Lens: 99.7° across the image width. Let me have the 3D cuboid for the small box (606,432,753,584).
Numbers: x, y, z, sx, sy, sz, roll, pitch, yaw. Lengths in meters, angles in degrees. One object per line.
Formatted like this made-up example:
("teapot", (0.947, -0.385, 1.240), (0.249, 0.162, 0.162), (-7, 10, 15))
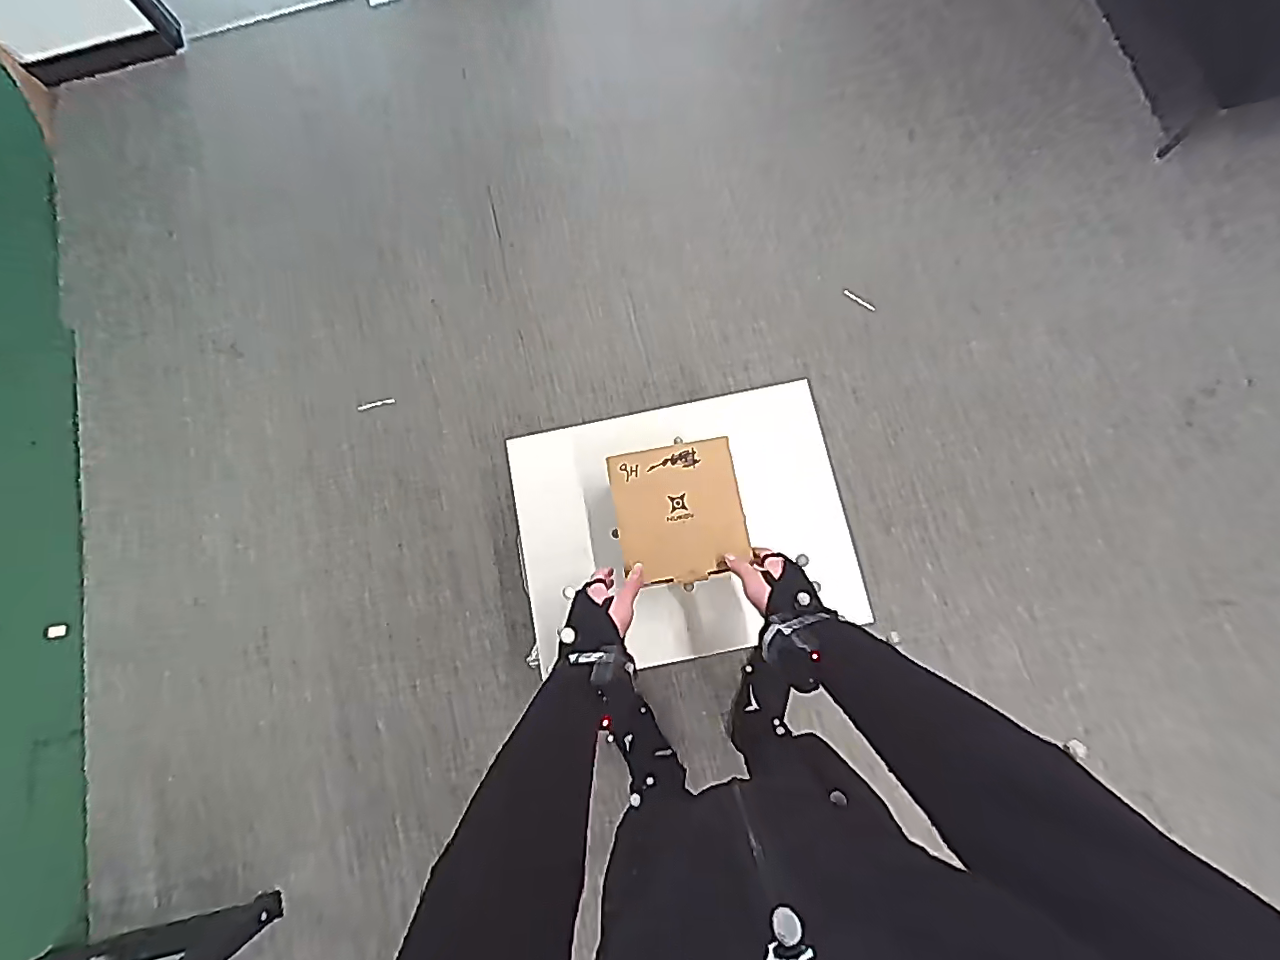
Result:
("small box", (0.055, 0.050, 0.782), (0.168, 0.176, 0.179), (-12, 78, 1))
